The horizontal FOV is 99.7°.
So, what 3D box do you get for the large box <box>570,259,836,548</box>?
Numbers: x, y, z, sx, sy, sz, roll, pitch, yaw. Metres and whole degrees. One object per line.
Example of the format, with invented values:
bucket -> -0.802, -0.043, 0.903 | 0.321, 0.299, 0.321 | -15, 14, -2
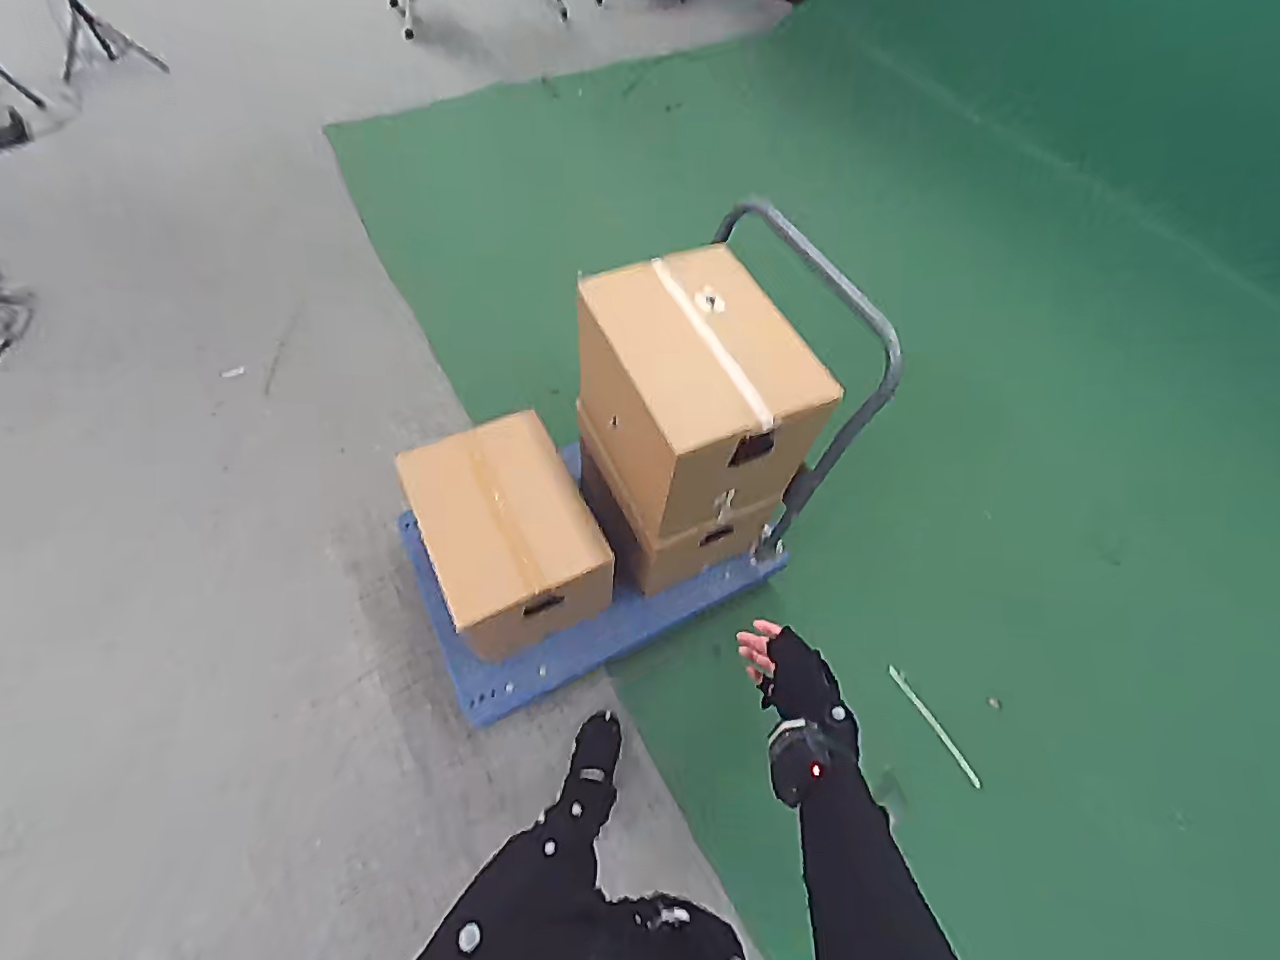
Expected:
large box -> 0.088, -0.146, 1.041 | 0.320, 0.320, 0.408 | -20, 61, -17
